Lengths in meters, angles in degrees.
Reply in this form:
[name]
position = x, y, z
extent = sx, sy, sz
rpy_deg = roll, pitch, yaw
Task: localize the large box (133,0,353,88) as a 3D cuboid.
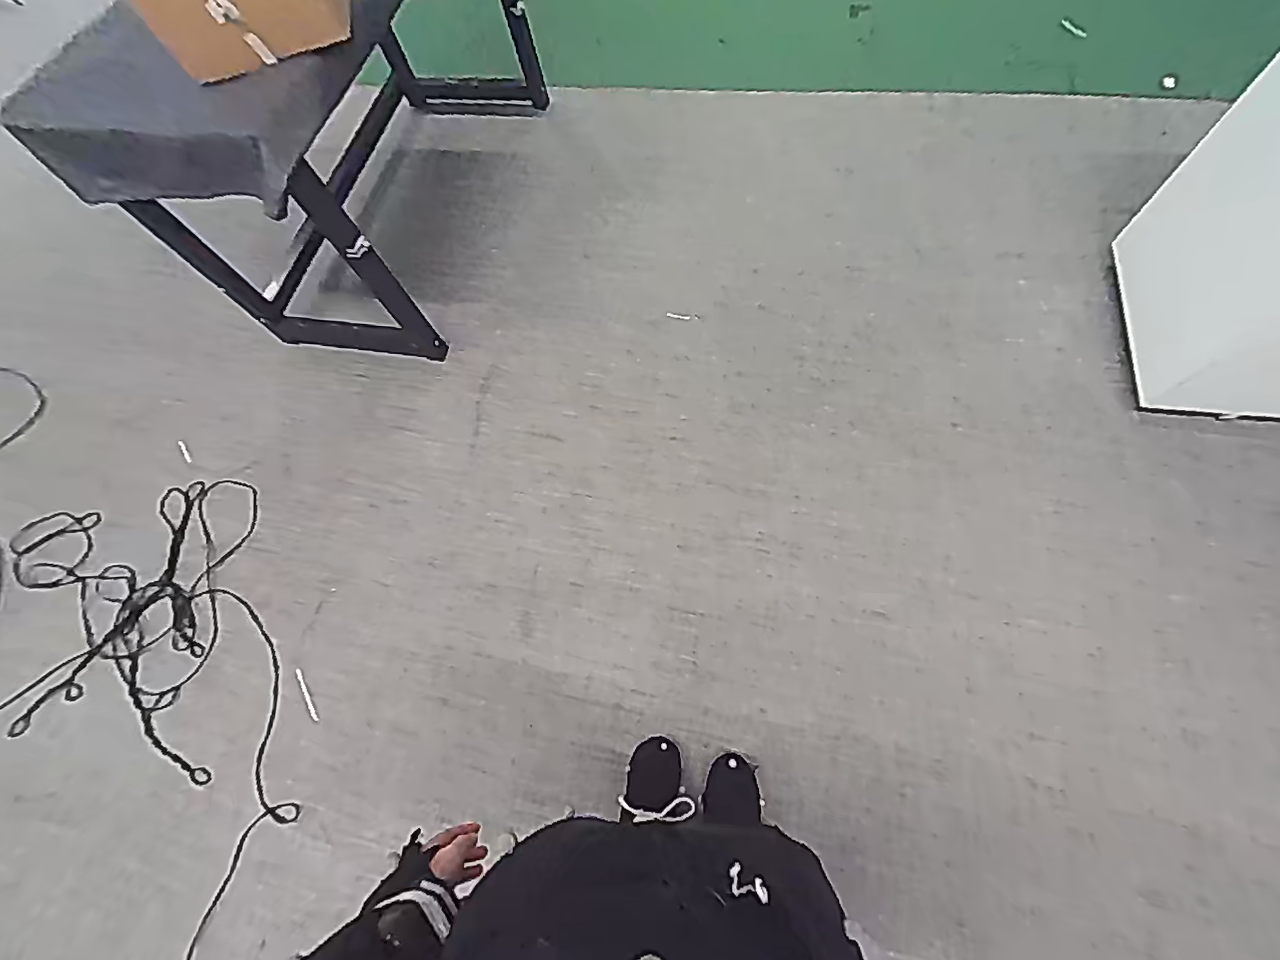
[large box]
position = -0.753, -1.012, 0.973
extent = 0.320, 0.320, 0.408
rpy_deg = -15, 65, 1
